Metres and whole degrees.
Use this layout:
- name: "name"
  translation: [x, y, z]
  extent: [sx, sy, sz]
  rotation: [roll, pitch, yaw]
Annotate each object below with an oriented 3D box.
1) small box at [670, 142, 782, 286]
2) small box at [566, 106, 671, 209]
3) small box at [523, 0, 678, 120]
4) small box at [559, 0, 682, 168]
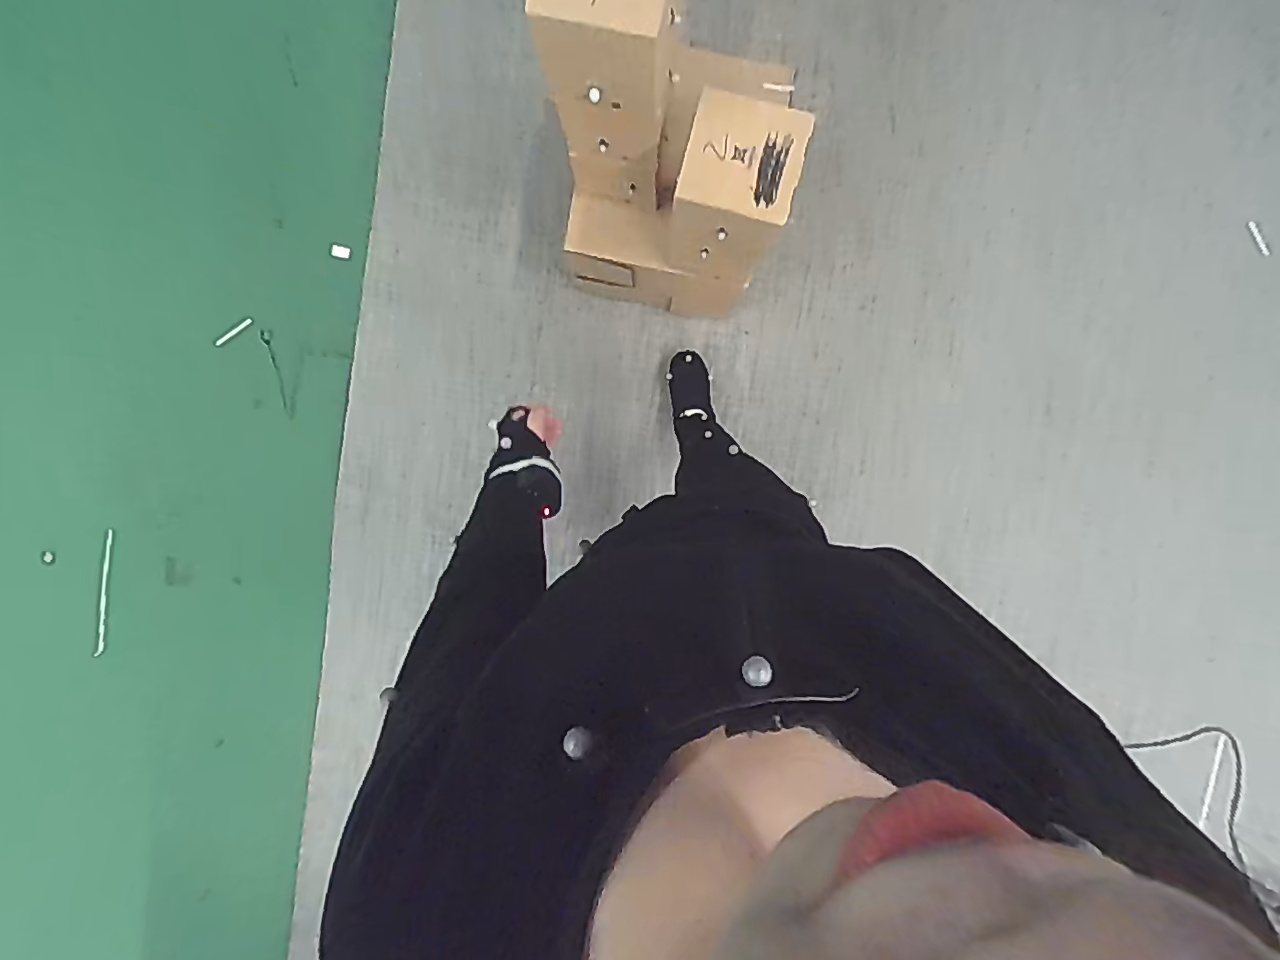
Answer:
- name: "small box"
  translation: [0.156, -0.502, 1.045]
  extent: [0.168, 0.176, 0.179]
  rotation: [14, 92, 1]
- name: "small box"
  translation: [-0.034, -0.656, 1.046]
  extent: [0.168, 0.176, 0.179]
  rotation: [12, 92, 1]
- name: "small box"
  translation: [-0.042, -0.630, 0.720]
  extent: [0.168, 0.176, 0.179]
  rotation: [13, 94, 1]
- name: "small box"
  translation: [-0.034, -0.651, 0.883]
  extent: [0.168, 0.176, 0.179]
  rotation: [12, 94, 1]
